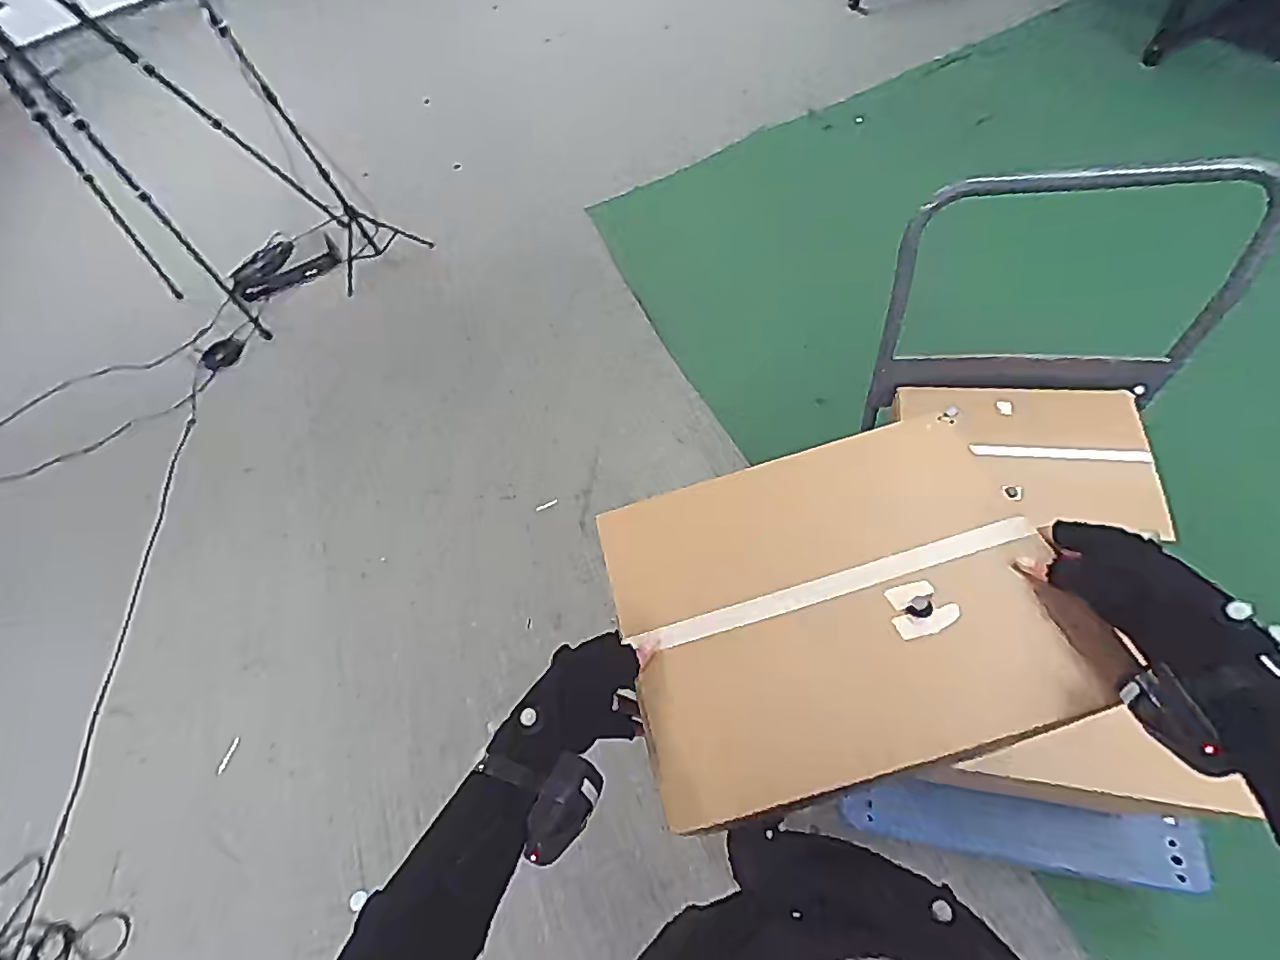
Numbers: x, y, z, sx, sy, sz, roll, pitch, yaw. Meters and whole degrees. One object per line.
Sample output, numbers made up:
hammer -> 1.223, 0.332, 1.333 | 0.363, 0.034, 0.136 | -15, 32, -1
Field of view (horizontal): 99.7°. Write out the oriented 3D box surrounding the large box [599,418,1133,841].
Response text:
large box -> 0.200, 0.188, 0.641 | 0.408, 0.320, 0.320 | -17, 54, 0
